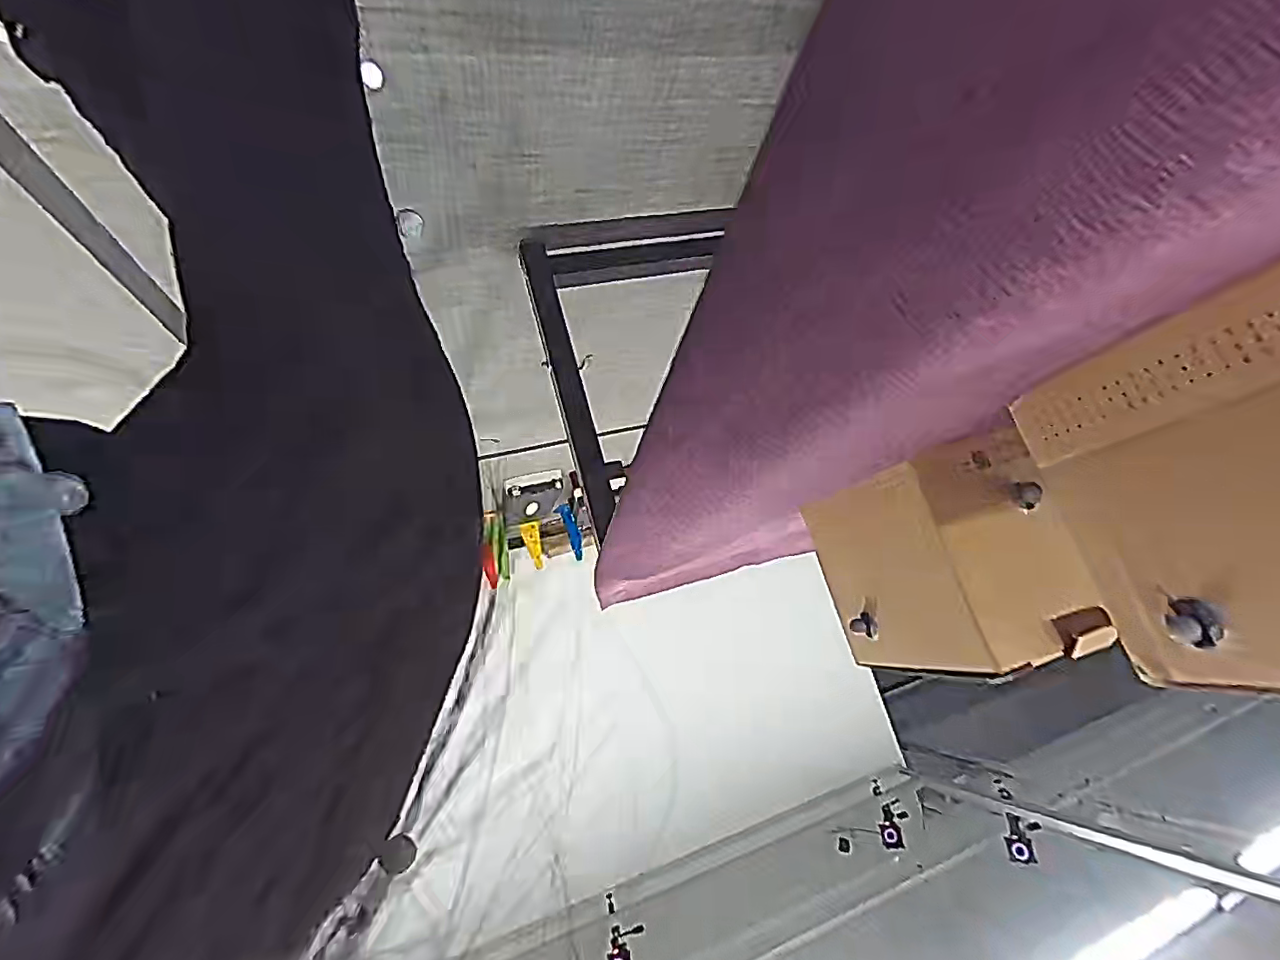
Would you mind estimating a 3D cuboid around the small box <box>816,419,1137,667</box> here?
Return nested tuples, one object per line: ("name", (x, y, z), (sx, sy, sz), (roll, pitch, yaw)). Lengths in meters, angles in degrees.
("small box", (0.285, 0.059, 0.494), (0.168, 0.176, 0.179), (-14, 166, -16))

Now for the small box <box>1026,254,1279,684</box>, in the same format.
("small box", (0.333, -0.019, 0.243), (0.168, 0.176, 0.179), (-13, 167, -14))
